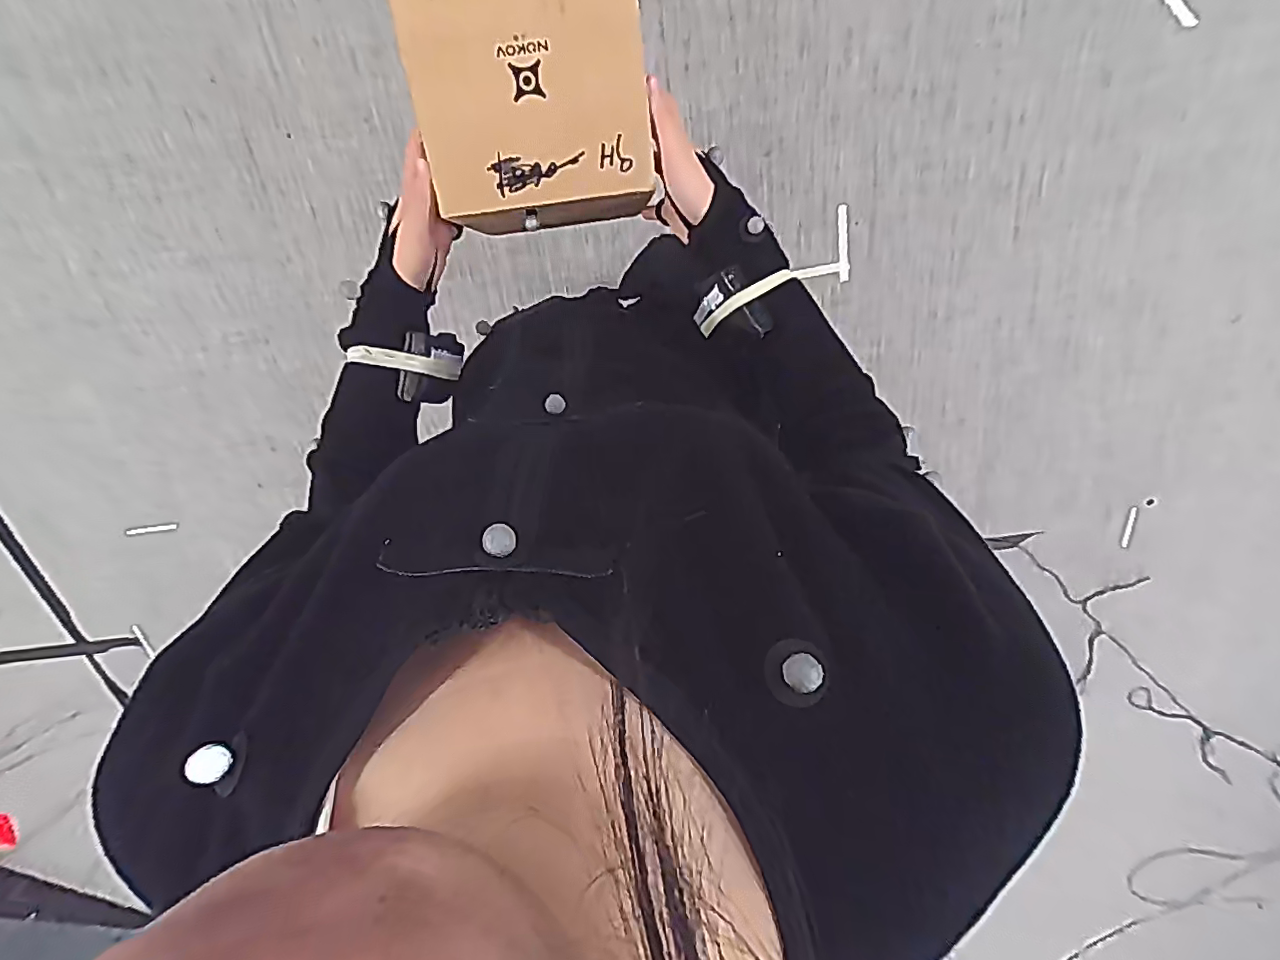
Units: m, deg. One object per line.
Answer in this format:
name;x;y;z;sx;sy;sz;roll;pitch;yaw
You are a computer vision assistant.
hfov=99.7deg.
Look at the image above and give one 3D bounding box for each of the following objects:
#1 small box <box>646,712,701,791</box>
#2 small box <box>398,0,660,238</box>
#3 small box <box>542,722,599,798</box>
small box;0.115;0.943;1.885;0.168;0.176;0.179;-9;113;2
small box;-0.081;-0.312;0.451;0.168;0.176;0.179;-8;110;-1
small box;-0.240;0.975;1.891;0.179;0.176;0.168;8;113;-6
